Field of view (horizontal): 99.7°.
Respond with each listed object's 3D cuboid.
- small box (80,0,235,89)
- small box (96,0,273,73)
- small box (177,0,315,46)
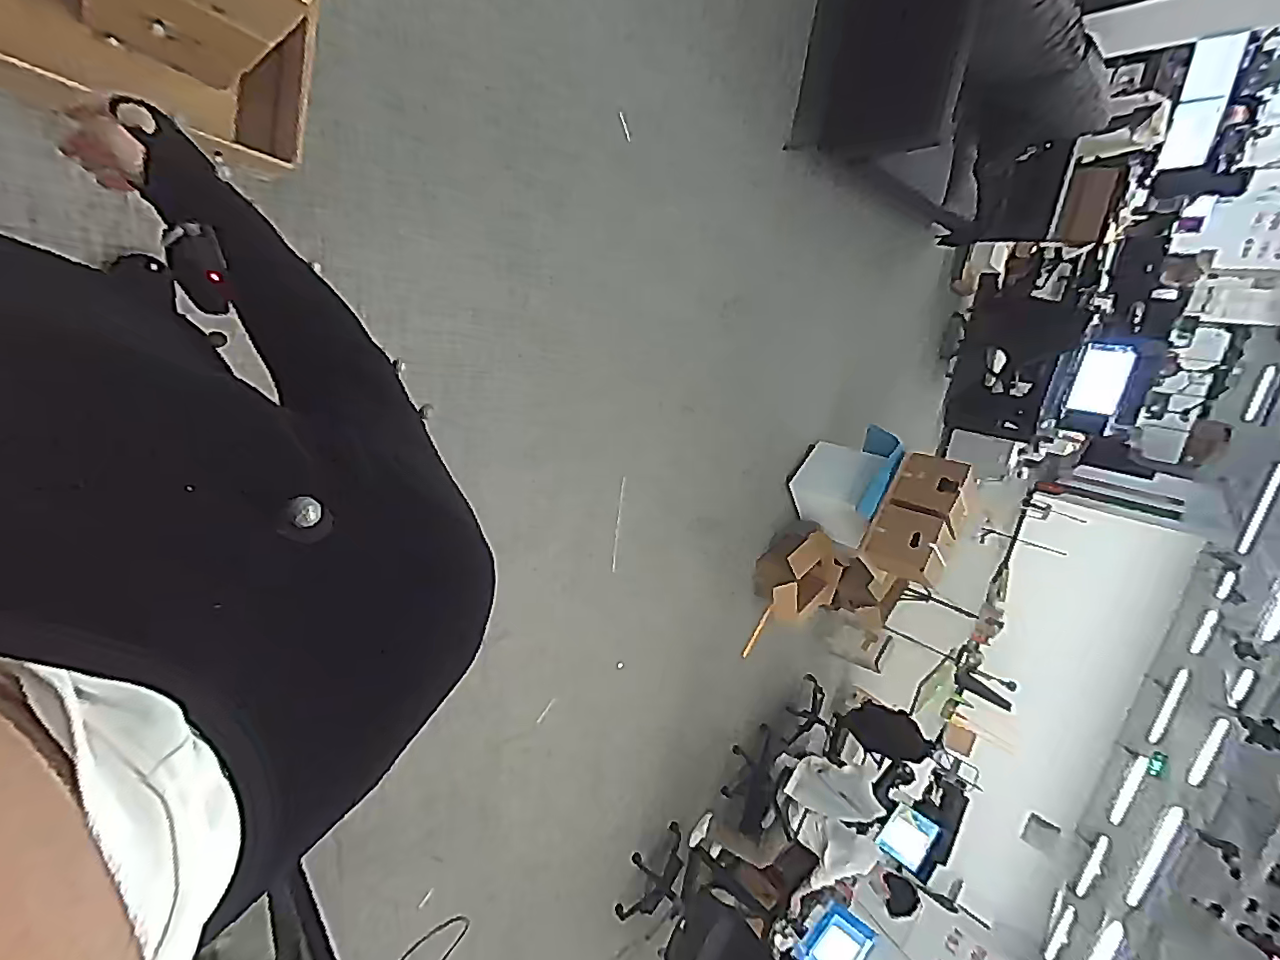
[{"bbox_3d":[-0.657,-0.689,0.753,0.168,0.176,0.179,4,103,-48],"label":"small box"},{"bbox_3d":[-0.544,-0.638,0.647,0.168,0.176,0.179,4,105,-47],"label":"small box"},{"bbox_3d":[-0.429,-0.592,0.540,0.168,0.176,0.179,4,104,-46],"label":"small box"}]
